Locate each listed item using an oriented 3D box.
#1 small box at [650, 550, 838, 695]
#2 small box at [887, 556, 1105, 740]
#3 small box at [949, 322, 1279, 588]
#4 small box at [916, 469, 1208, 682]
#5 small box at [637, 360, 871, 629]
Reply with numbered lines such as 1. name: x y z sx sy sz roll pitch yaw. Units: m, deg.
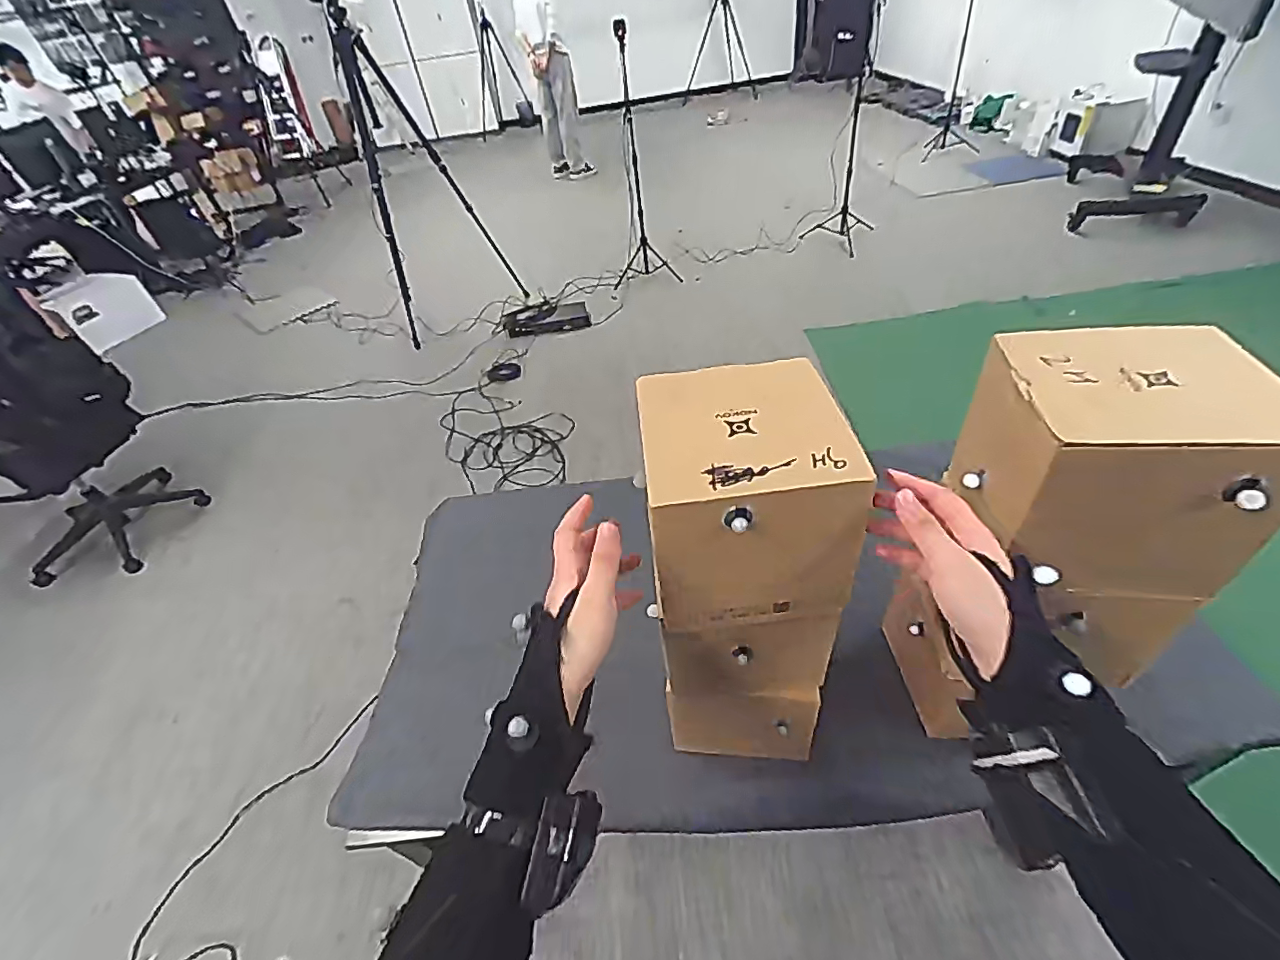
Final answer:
1. small box: 0.107 0.126 0.617 0.179 0.176 0.168 -7 42 3
2. small box: 0.444 0.211 0.705 0.168 0.176 0.179 -8 43 3
3. small box: 0.403 -0.021 0.477 0.179 0.176 0.168 1 43 13
4. small box: 0.423 0.102 0.586 0.179 0.176 0.168 -1 43 12
5. small box: 0.088 0.012 0.500 0.168 0.176 0.179 -7 42 2
